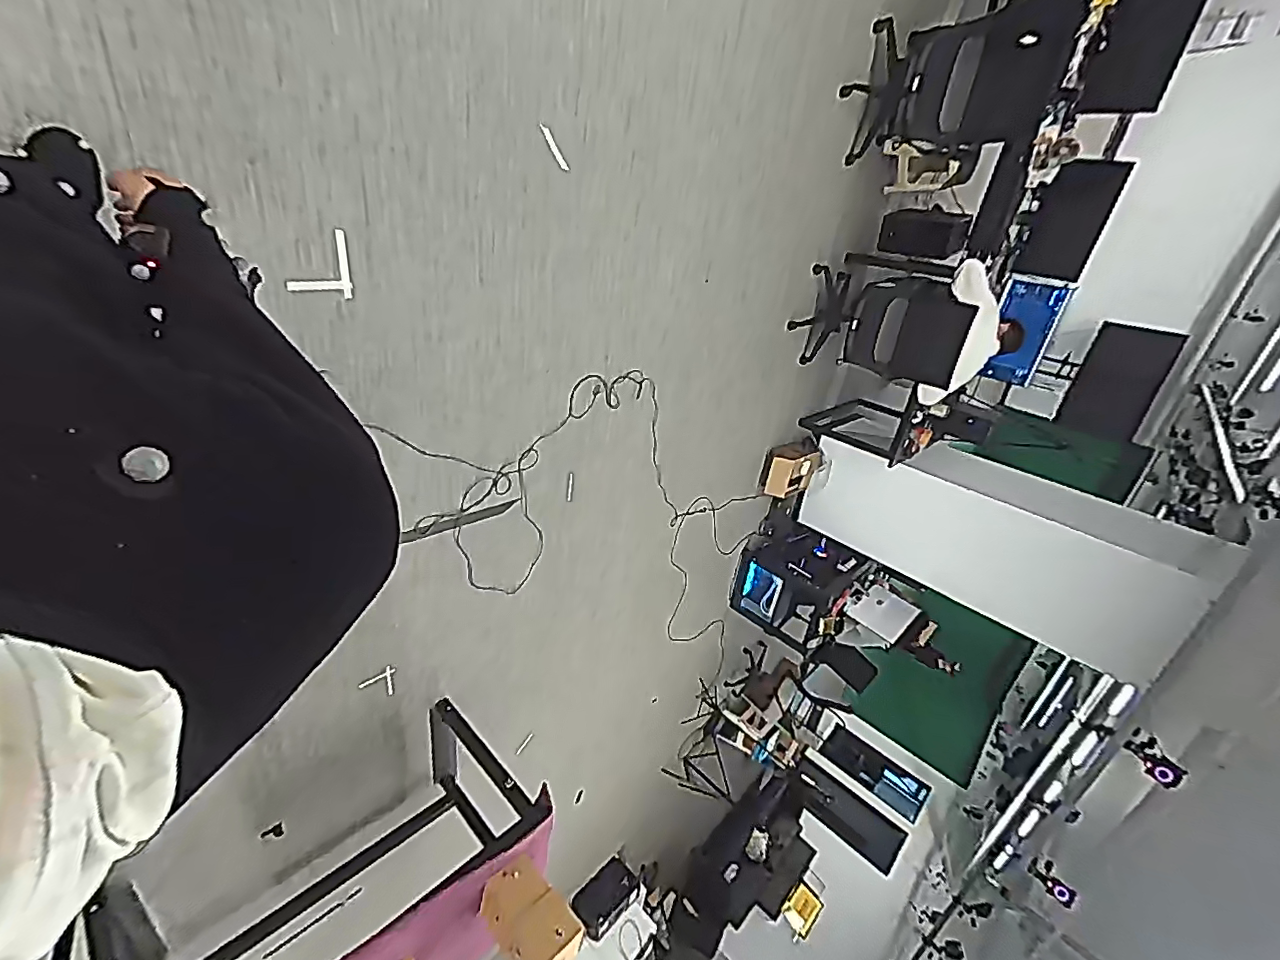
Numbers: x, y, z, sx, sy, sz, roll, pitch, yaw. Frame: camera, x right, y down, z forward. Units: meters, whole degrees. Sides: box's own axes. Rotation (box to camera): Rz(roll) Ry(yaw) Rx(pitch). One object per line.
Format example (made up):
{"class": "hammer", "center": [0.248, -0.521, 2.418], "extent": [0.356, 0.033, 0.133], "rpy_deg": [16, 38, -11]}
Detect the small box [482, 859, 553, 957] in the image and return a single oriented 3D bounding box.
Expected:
{"class": "small box", "center": [-0.434, 1.493, 1.898], "extent": [0.168, 0.176, 0.179], "rpy_deg": [-7, 118, -49]}

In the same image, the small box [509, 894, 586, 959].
{"class": "small box", "center": [-0.310, 1.546, 1.802], "extent": [0.179, 0.176, 0.168], "rpy_deg": [-10, 120, -48]}
